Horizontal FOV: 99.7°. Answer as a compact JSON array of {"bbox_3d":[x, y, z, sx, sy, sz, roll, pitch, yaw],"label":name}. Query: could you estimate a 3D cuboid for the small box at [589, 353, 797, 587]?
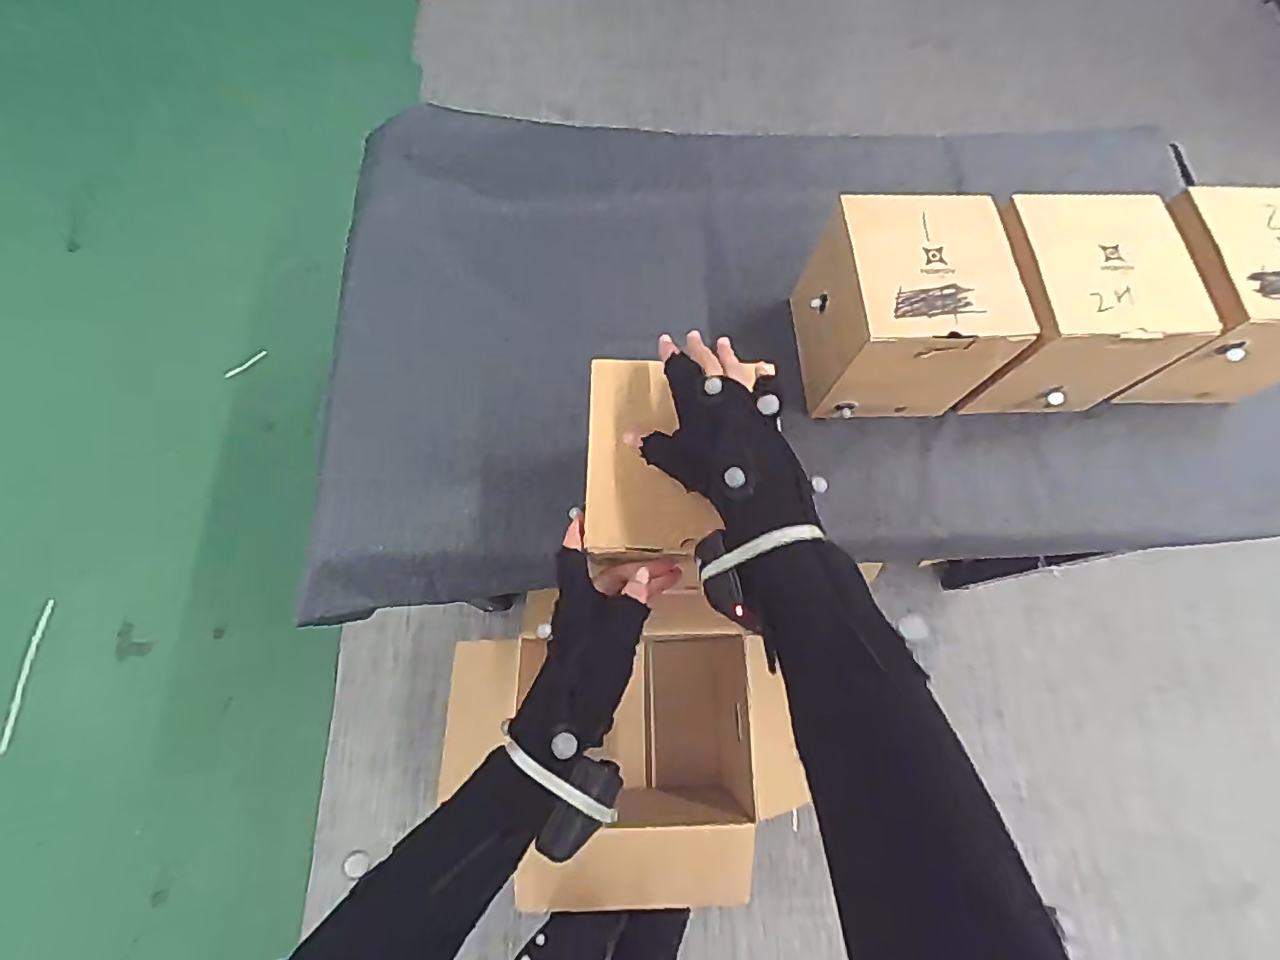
[{"bbox_3d":[0.037,-0.001,0.522,0.168,0.176,0.179,0,68,-3],"label":"small box"}]
